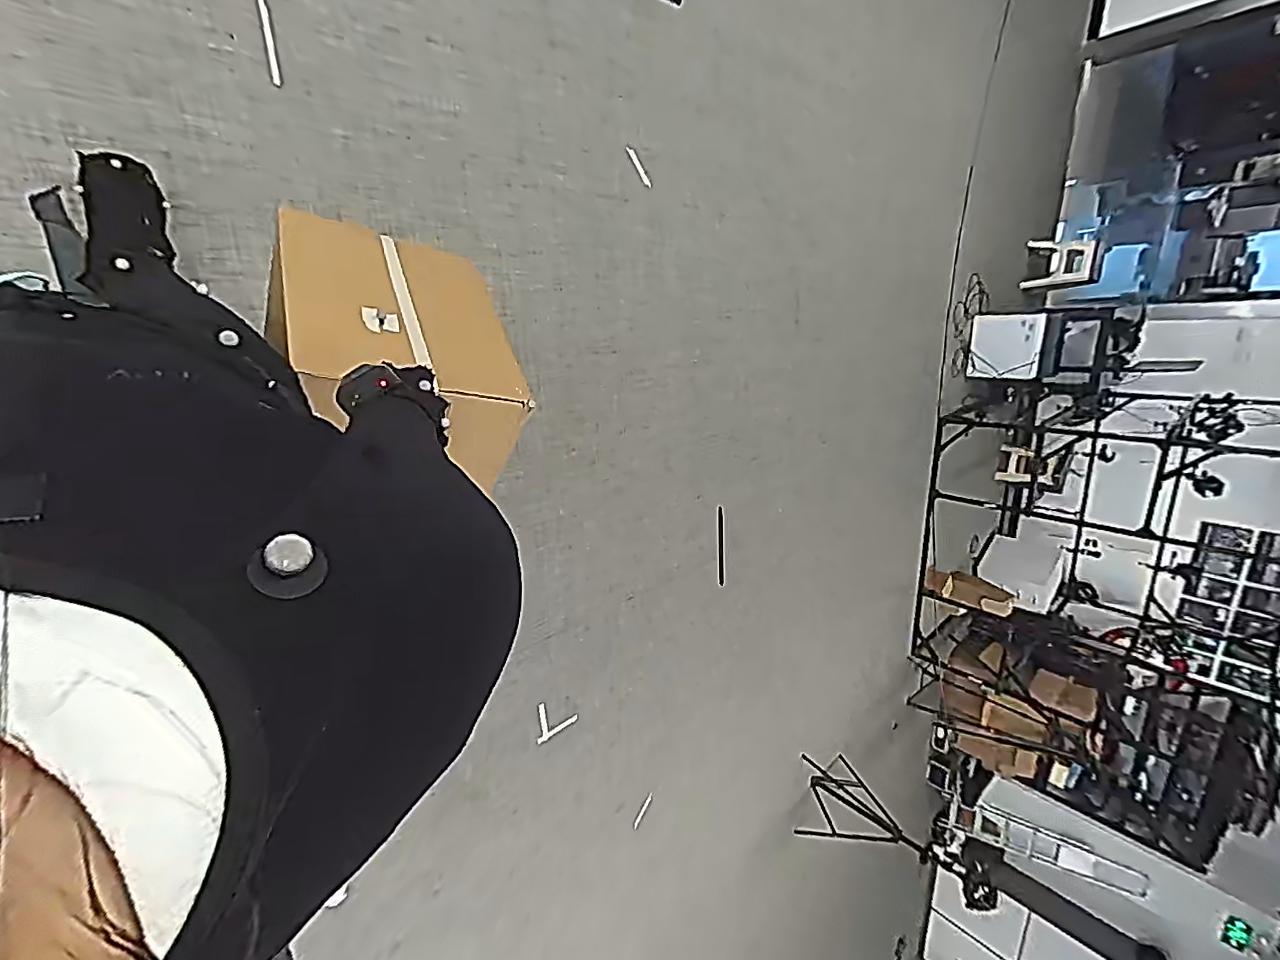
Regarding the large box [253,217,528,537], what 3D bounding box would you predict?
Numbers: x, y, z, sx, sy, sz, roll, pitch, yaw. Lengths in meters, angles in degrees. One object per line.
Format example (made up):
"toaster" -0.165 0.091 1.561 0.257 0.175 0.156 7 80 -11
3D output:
"large box" -0.442 -0.156 0.910 0.320 0.408 0.320 2 138 -39
